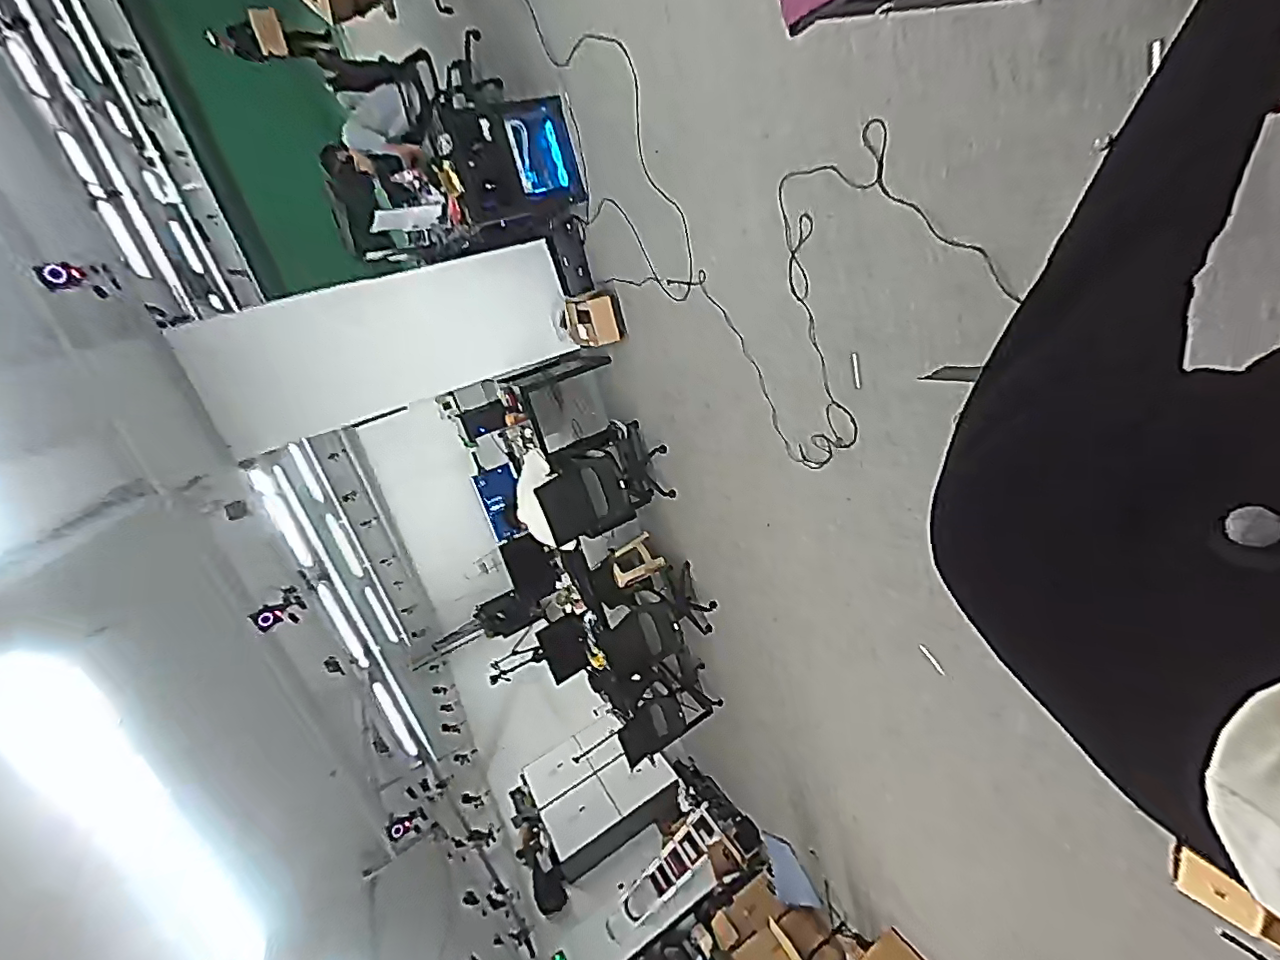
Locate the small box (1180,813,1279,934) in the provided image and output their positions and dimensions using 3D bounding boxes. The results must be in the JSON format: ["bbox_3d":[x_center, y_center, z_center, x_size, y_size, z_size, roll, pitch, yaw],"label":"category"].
[{"bbox_3d":[1.659,1.087,1.506,0.168,0.176,0.179,22,130,59],"label":"small box"}]
